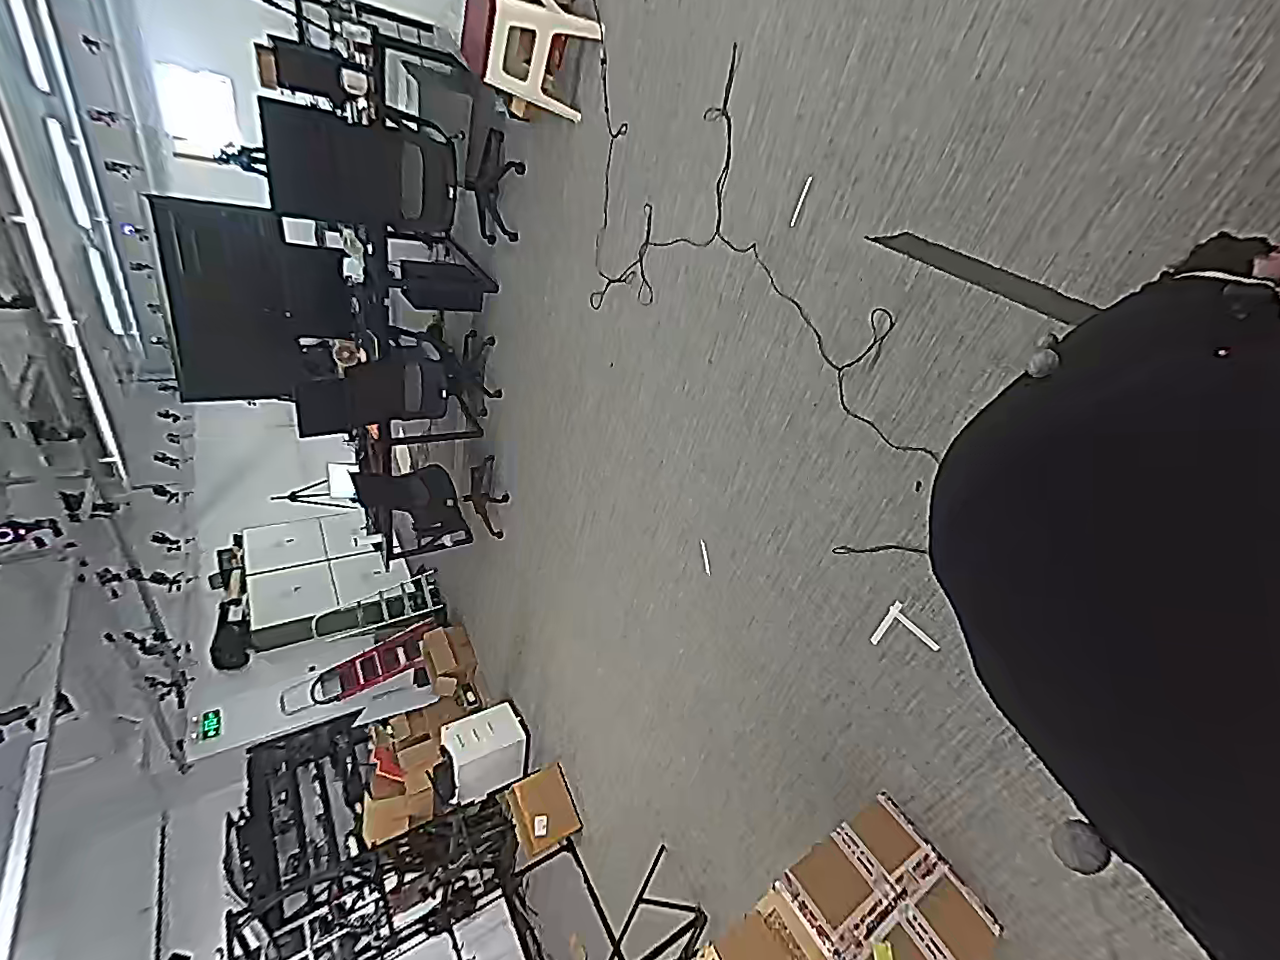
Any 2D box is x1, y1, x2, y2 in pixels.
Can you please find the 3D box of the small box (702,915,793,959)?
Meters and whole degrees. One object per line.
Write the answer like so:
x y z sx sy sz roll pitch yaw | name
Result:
0.295 1.302 1.430 0.179 0.176 0.168 49 134 40 | small box
